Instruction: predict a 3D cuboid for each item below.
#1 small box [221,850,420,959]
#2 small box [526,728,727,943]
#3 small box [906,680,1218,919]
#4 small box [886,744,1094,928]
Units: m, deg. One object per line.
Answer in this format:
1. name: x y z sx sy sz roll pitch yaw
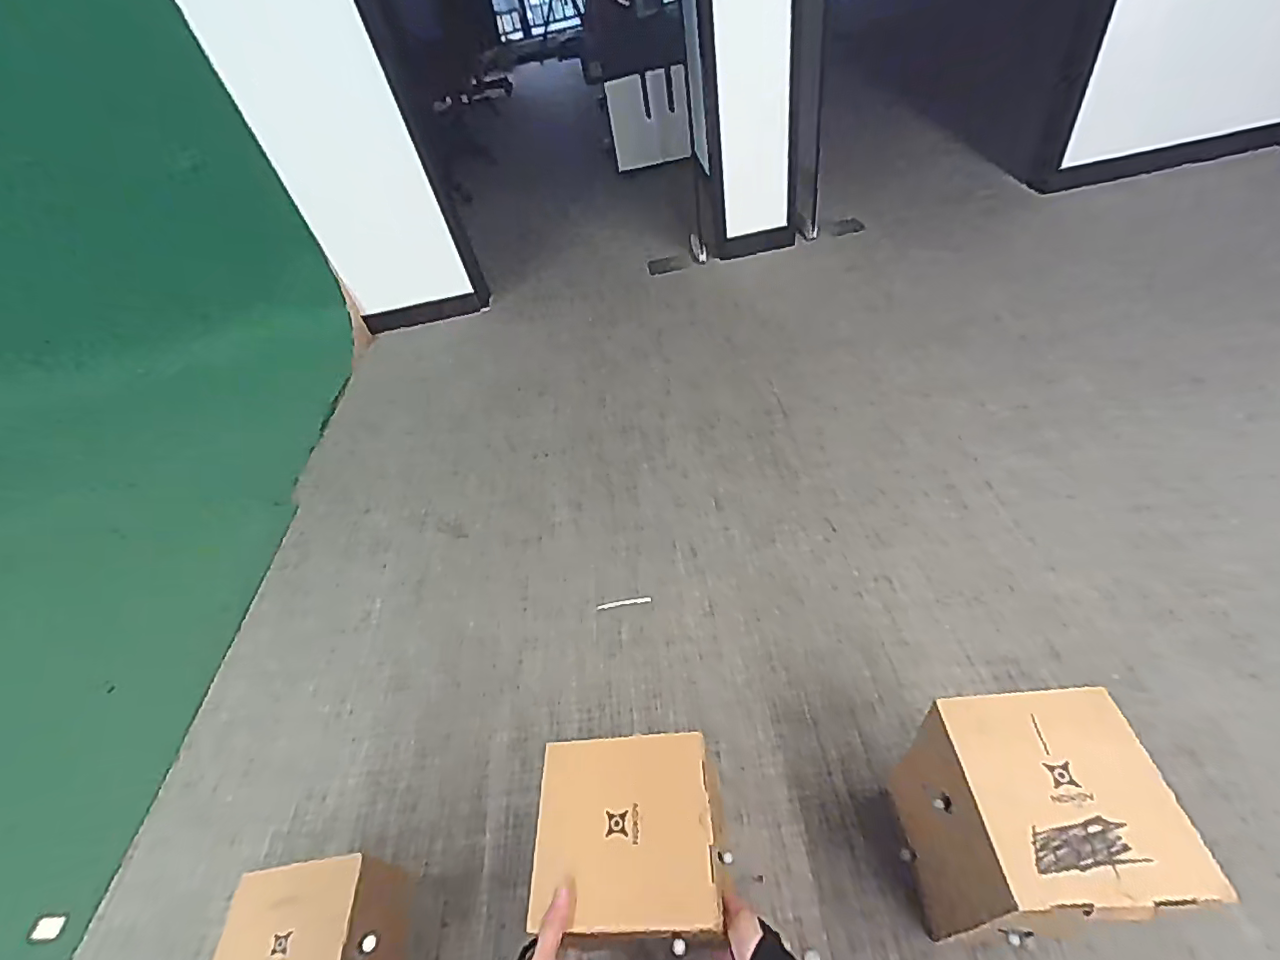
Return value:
1. small box: -0.413 0.617 0.711 0.168 0.176 0.179 -11 44 2
2. small box: -0.005 0.393 0.594 0.179 0.176 0.168 -7 45 7
3. small box: 0.394 0.329 0.551 0.168 0.176 0.179 -8 44 7
4. small box: 0.425 0.439 0.671 0.168 0.176 0.179 -8 46 6
